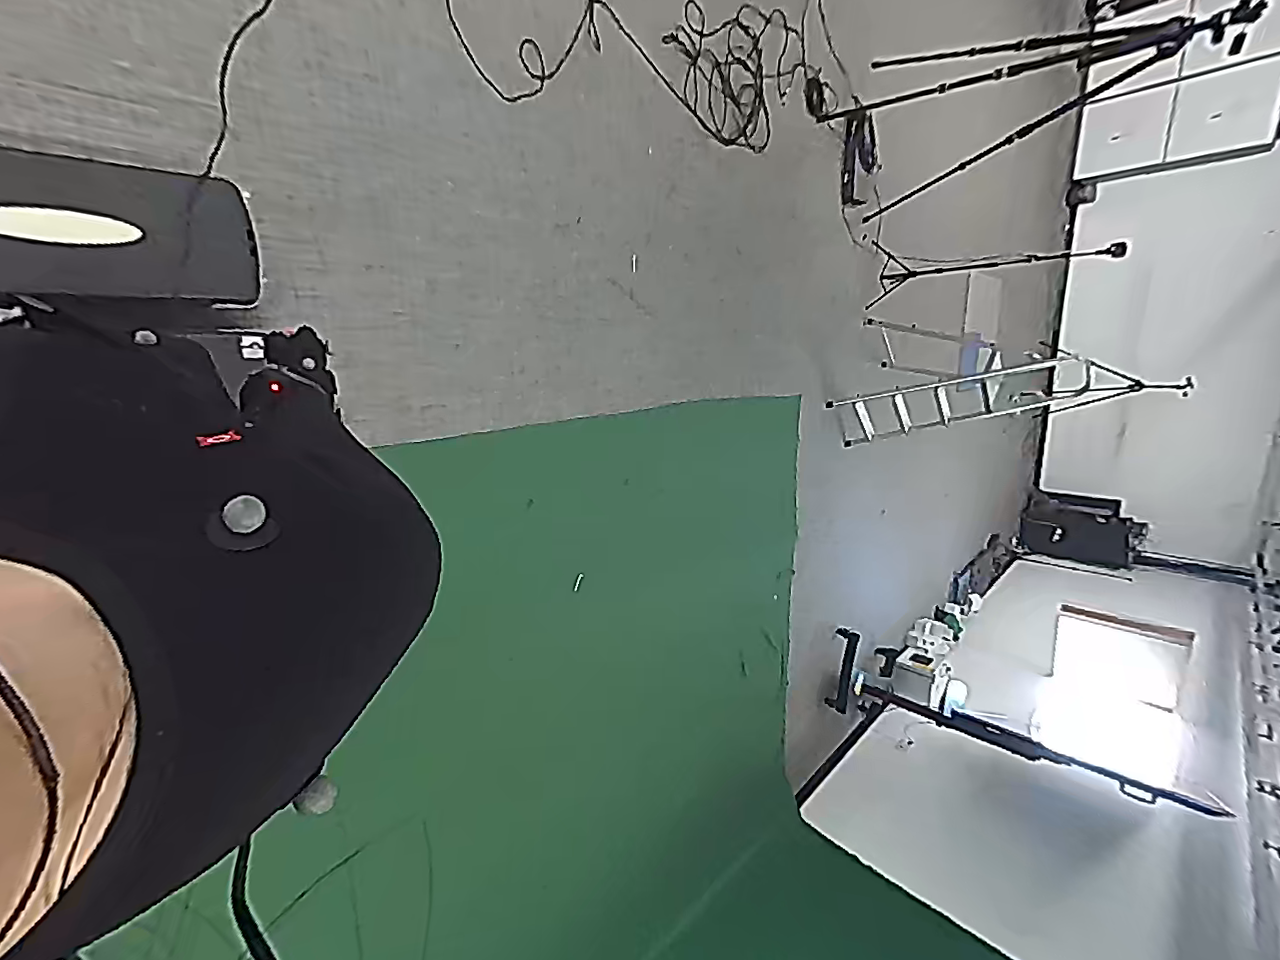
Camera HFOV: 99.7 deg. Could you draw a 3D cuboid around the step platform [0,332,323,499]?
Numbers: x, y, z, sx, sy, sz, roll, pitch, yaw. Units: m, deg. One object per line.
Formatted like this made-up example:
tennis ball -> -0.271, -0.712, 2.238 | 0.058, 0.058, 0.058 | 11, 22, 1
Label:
step platform -> -1.001, -0.124, 1.003 | 0.684, 0.204, 0.286 | -15, 108, -43
